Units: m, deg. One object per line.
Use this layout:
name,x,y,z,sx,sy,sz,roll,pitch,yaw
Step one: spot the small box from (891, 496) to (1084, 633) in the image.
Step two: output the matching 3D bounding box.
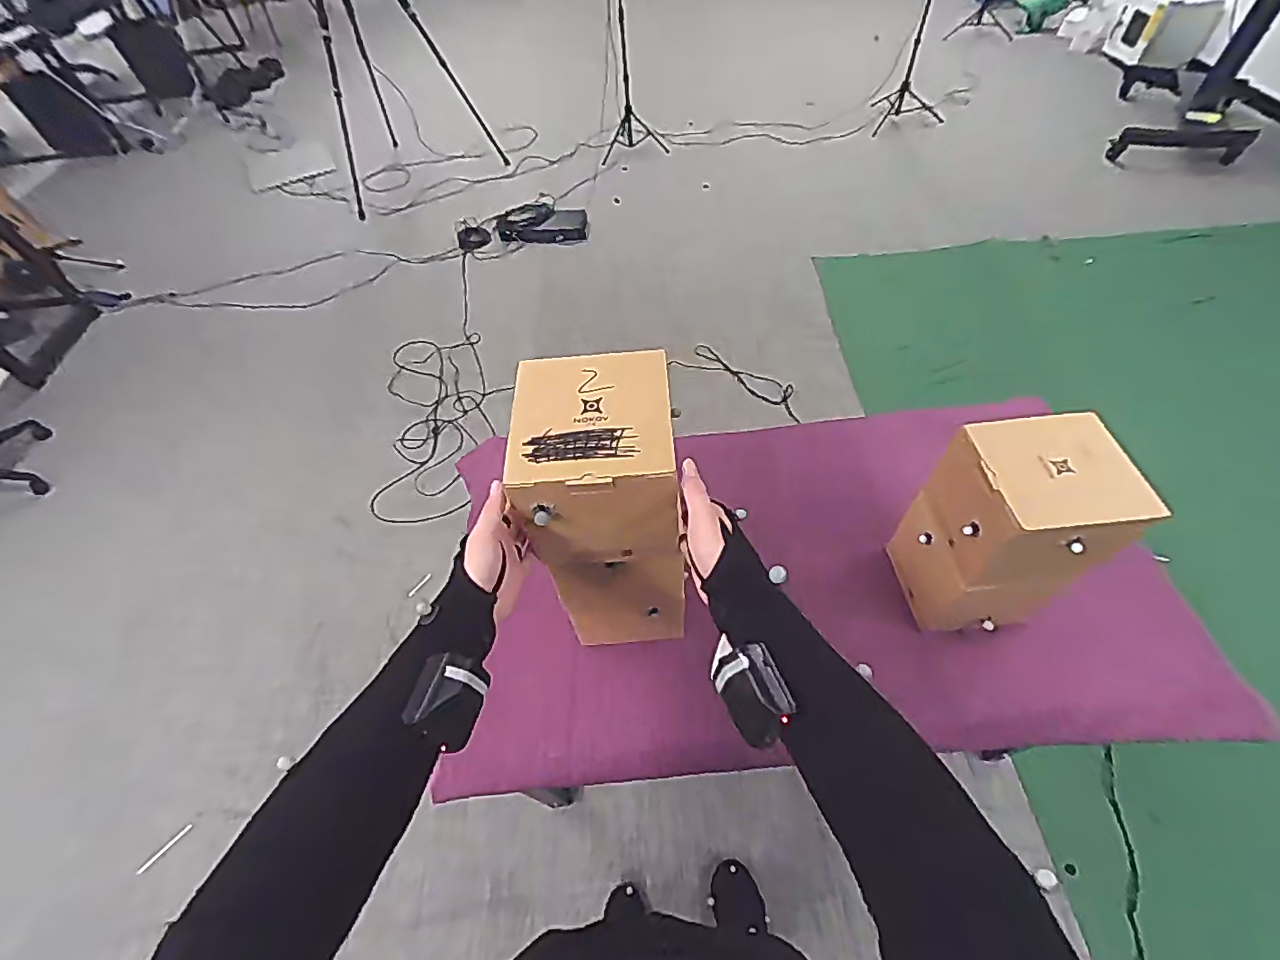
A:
small box,0.534,0.131,0.863,0.179,0.176,0.168,-6,53,1

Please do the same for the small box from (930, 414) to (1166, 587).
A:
small box,0.522,0.034,0.732,0.179,0.176,0.168,-6,55,2

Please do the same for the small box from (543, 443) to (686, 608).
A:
small box,-0.030,0.069,0.762,0.179,0.176,0.168,-6,55,2

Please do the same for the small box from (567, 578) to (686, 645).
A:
small box,-0.019,0.162,0.894,0.179,0.176,0.168,-5,53,2
